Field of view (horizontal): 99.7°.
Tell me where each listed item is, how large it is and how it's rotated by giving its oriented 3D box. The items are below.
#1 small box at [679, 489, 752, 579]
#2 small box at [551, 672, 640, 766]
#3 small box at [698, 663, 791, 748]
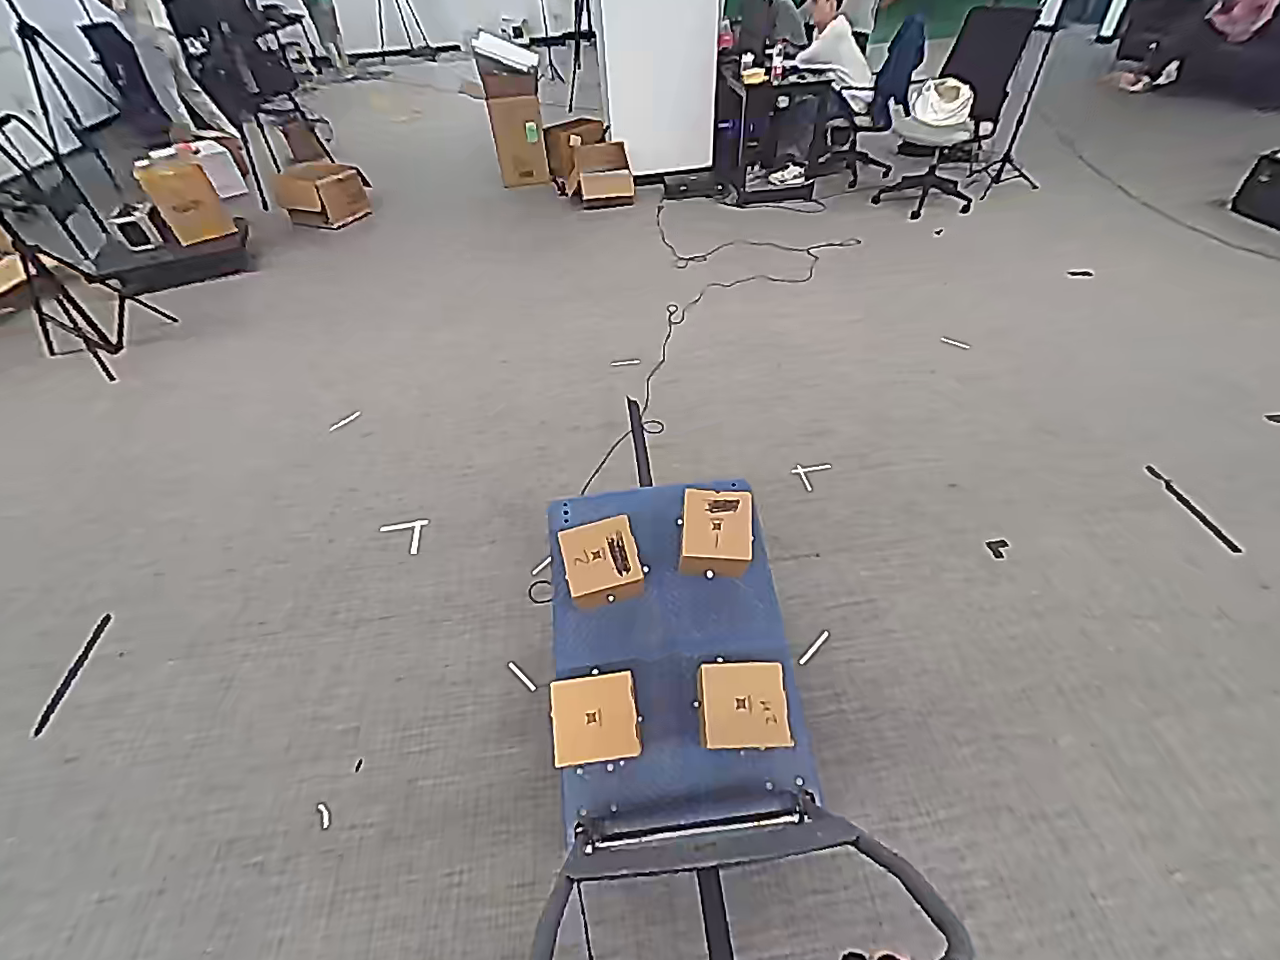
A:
[{"bbox_3d":[0.188,0.140,1.374,0.168,0.176,0.179,3,66,3],"label":"small box"},{"bbox_3d":[-0.095,0.531,1.197,0.179,0.176,0.168,-7,64,-4],"label":"small box"},{"bbox_3d":[0.222,0.504,1.202,0.179,0.176,0.168,-2,65,1],"label":"small box"}]
